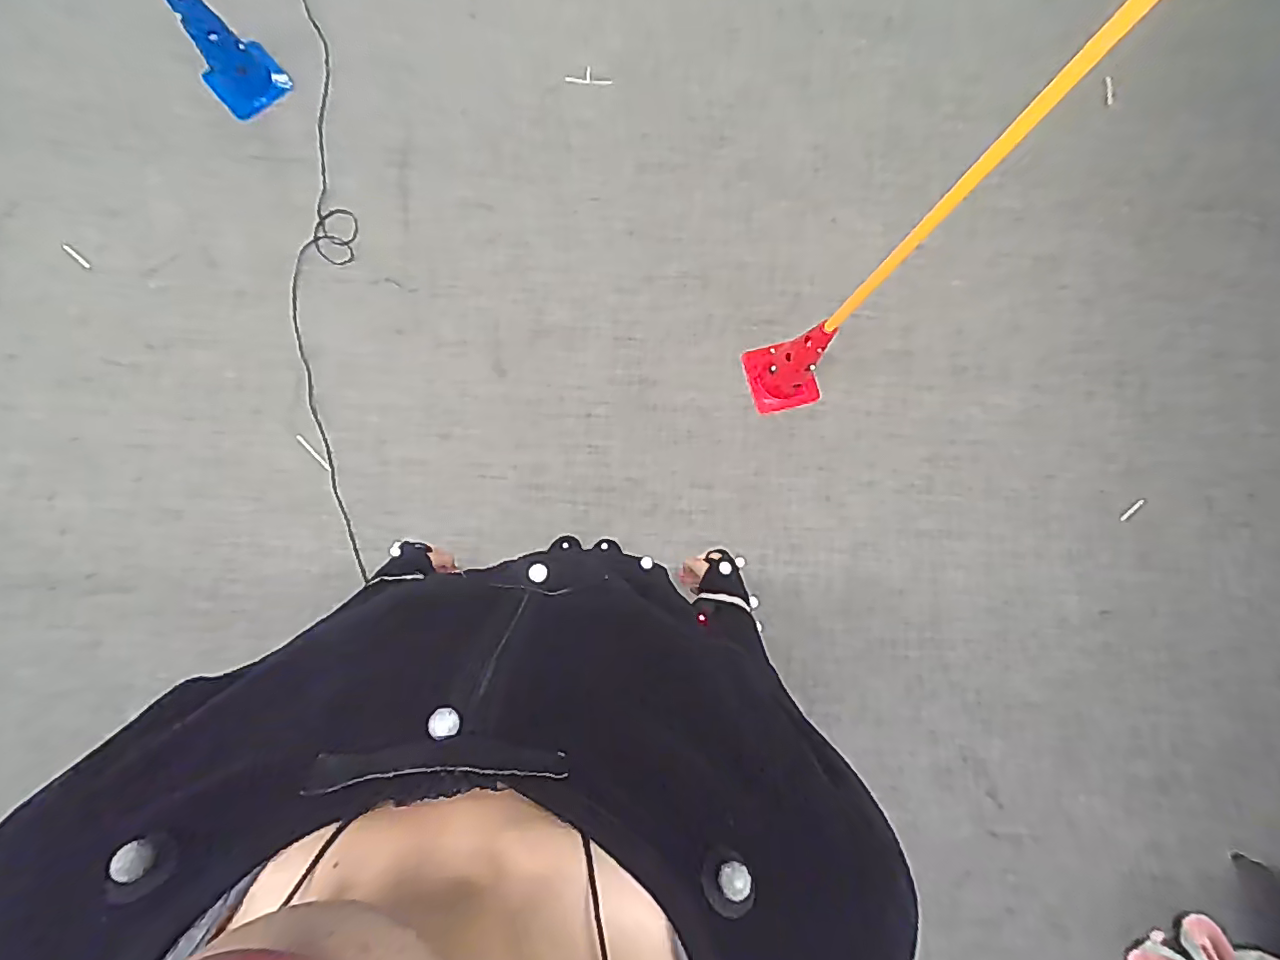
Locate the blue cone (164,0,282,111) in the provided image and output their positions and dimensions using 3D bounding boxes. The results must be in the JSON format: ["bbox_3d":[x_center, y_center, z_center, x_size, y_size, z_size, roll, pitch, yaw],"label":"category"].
[{"bbox_3d":[-1.163,-1.210,1.429,0.193,0.380,0.192,-43,89,-5],"label":"blue cone"}]
